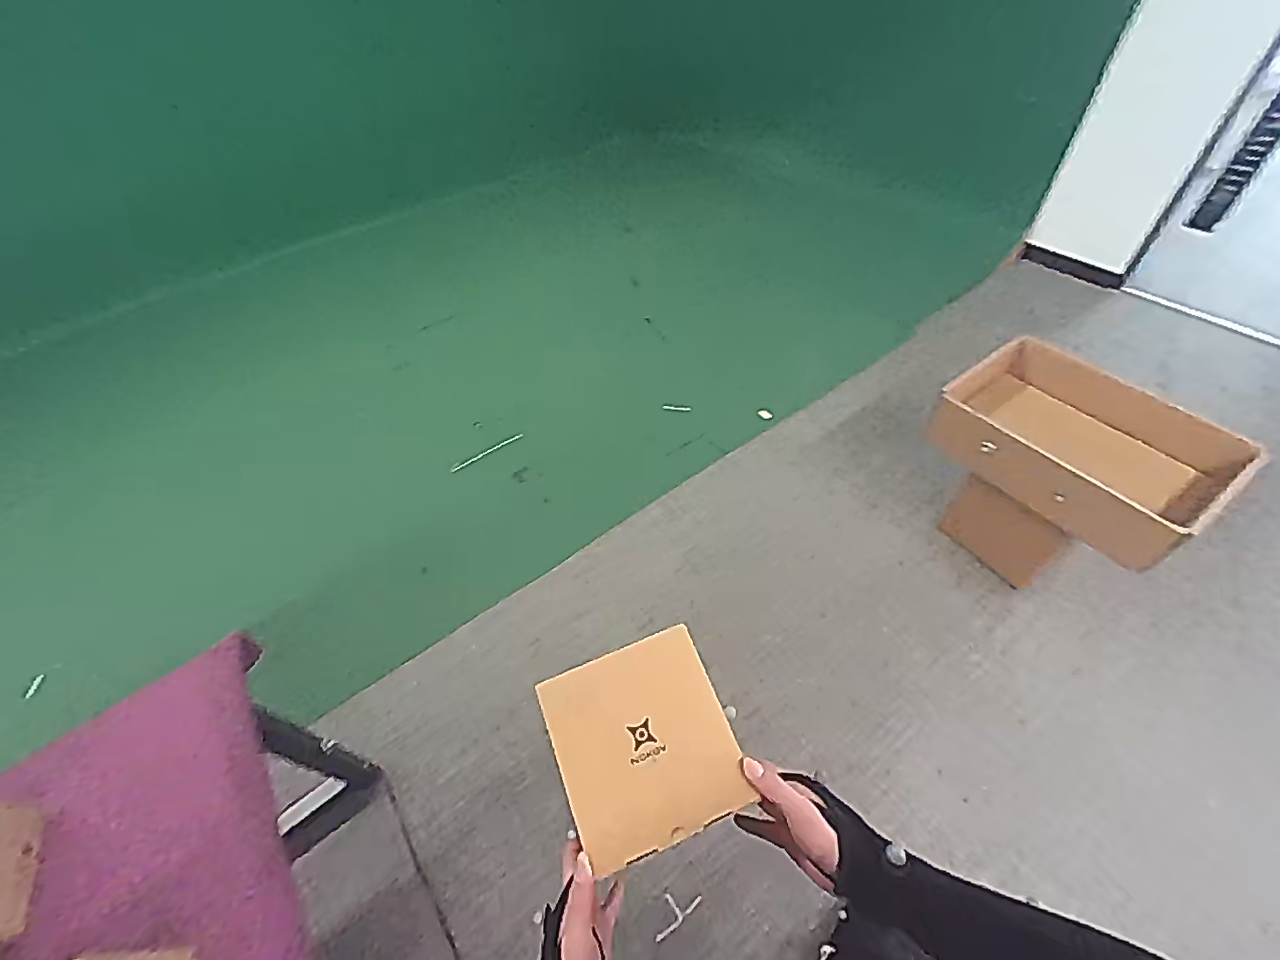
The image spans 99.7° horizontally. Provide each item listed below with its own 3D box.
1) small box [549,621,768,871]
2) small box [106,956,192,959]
[{"bbox_3d":[0.011,0.280,0.585,0.168,0.176,0.179,-19,64,-10],"label":"small box"},{"bbox_3d":[-0.592,0.655,0.565,0.168,0.176,0.179,35,63,29],"label":"small box"}]
